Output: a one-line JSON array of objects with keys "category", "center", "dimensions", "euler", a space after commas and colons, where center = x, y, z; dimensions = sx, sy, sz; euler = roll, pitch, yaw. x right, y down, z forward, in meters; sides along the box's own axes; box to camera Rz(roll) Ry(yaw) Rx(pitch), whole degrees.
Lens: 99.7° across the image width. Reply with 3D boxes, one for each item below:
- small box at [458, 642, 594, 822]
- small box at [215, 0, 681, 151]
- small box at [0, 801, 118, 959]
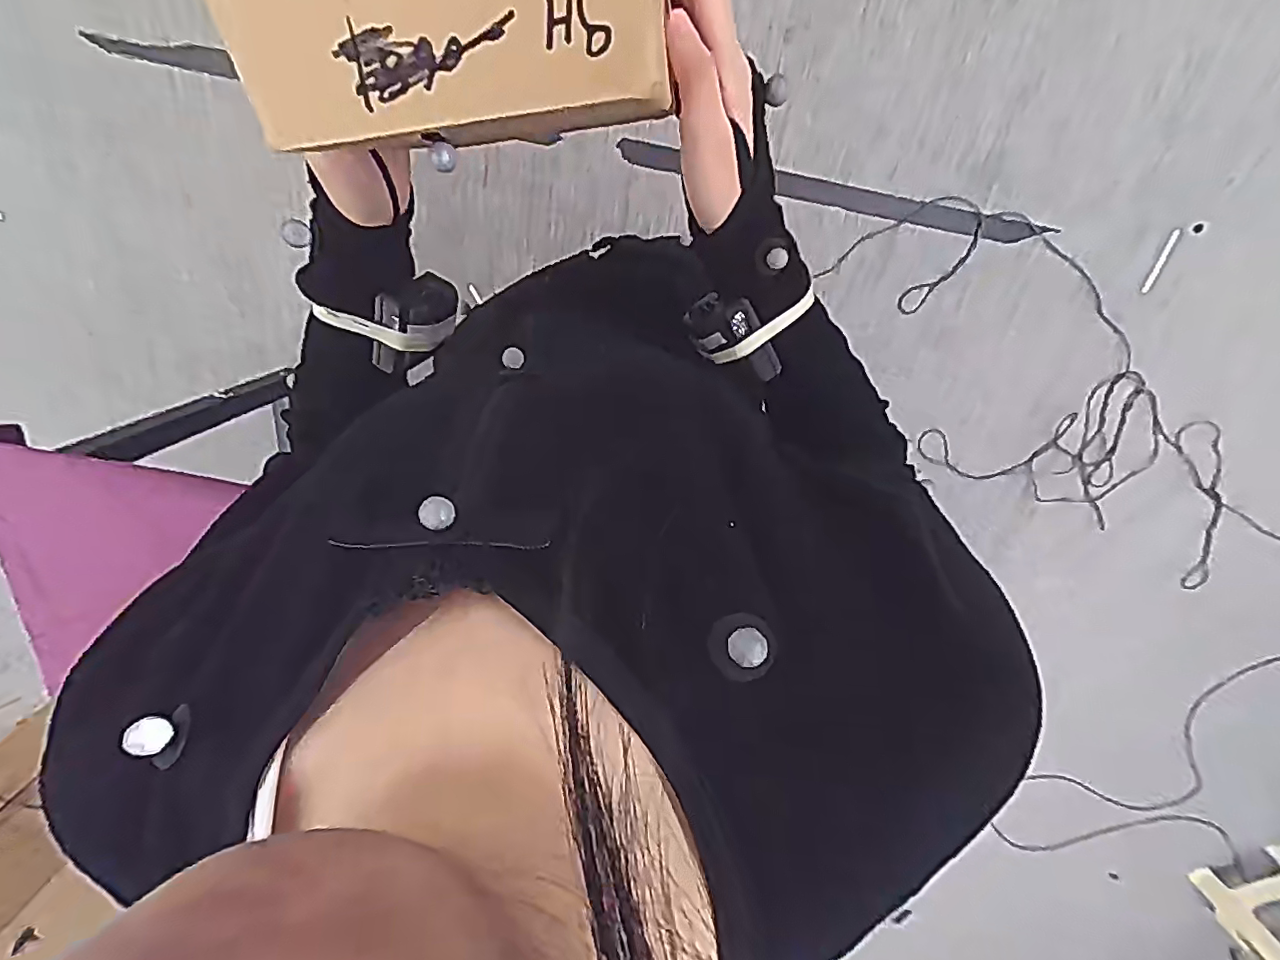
[{"category": "small box", "center": [-0.172, 0.387, 0.847], "dimensions": [0.168, 0.176, 0.179], "euler": [12, 113, -3]}, {"category": "small box", "center": [-0.070, -0.255, 0.236], "dimensions": [0.168, 0.176, 0.179], "euler": [-2, 121, 9]}, {"category": "small box", "center": [-0.681, 0.451, 0.537], "dimensions": [0.168, 0.176, 0.179], "euler": [17, 115, -4]}]
